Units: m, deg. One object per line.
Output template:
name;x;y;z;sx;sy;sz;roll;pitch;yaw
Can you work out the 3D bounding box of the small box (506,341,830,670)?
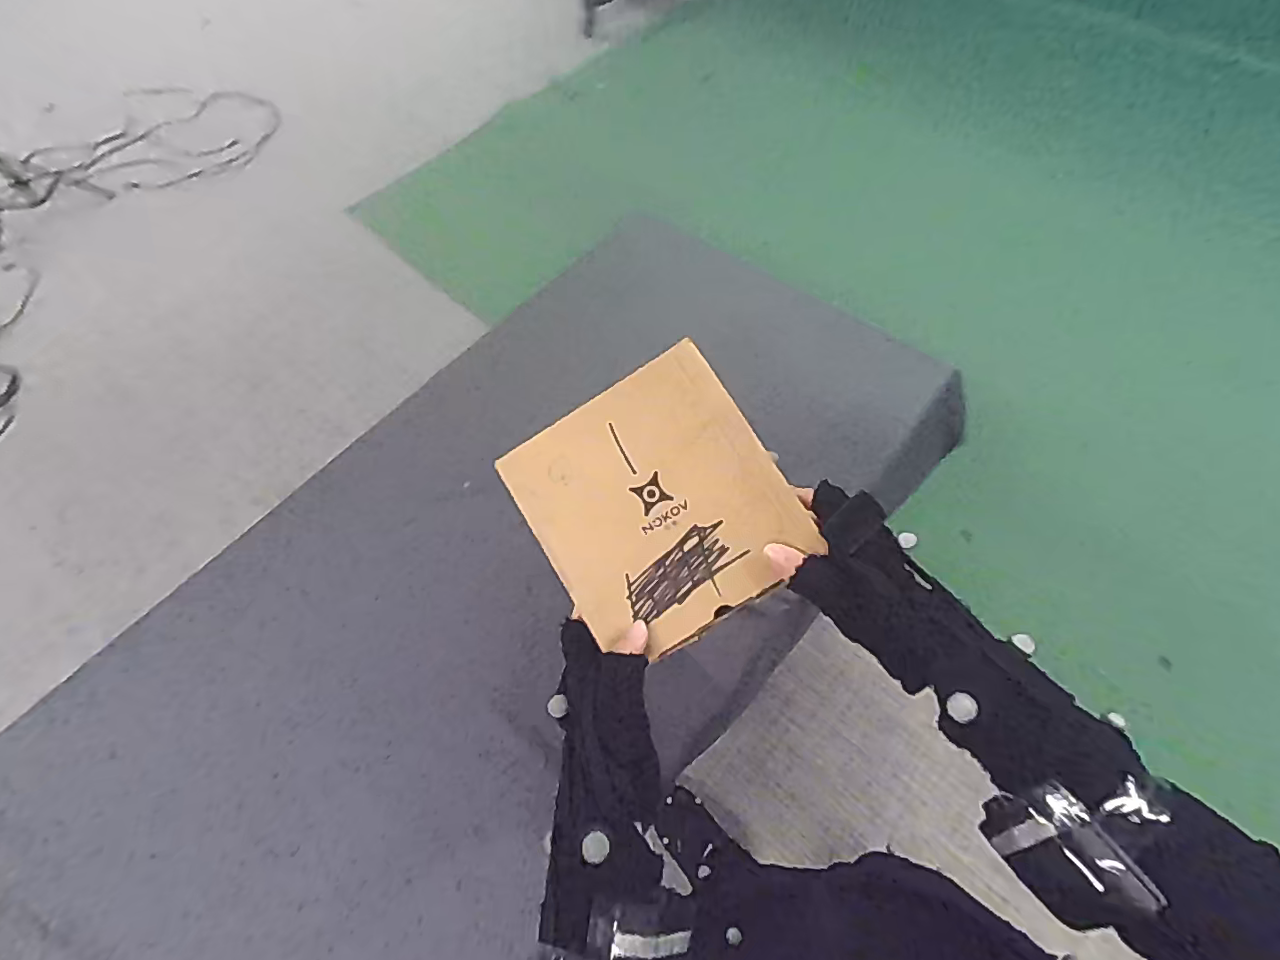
small box;0.025;0.021;0.447;0.168;0.176;0.179;-31;83;3
